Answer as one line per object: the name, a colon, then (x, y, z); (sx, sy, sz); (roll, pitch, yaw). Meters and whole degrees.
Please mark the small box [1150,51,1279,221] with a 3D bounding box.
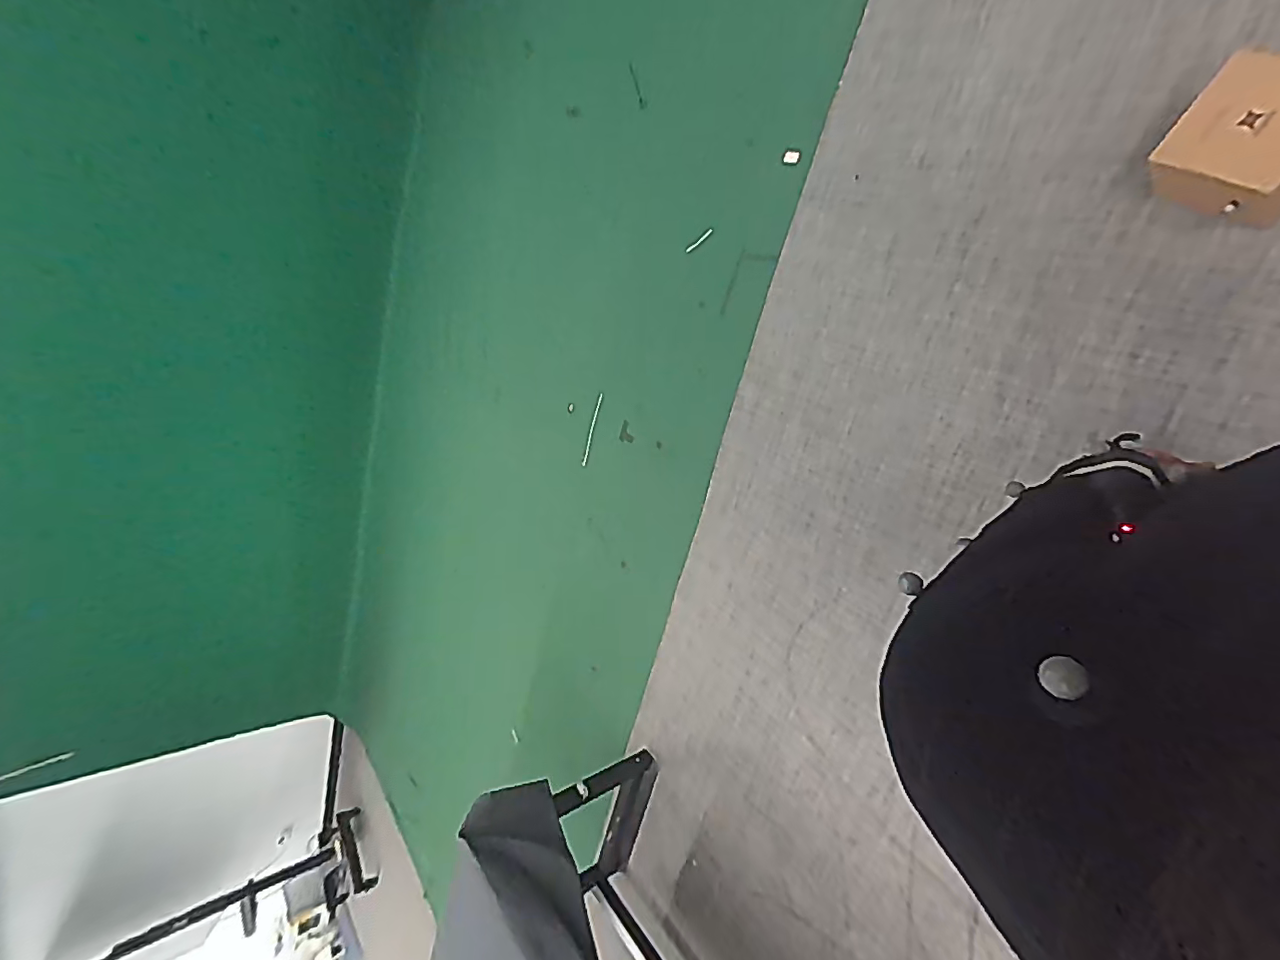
small box: (0.983, -0.537, 0.861); (0.179, 0.176, 0.168); (51, 124, 38)
